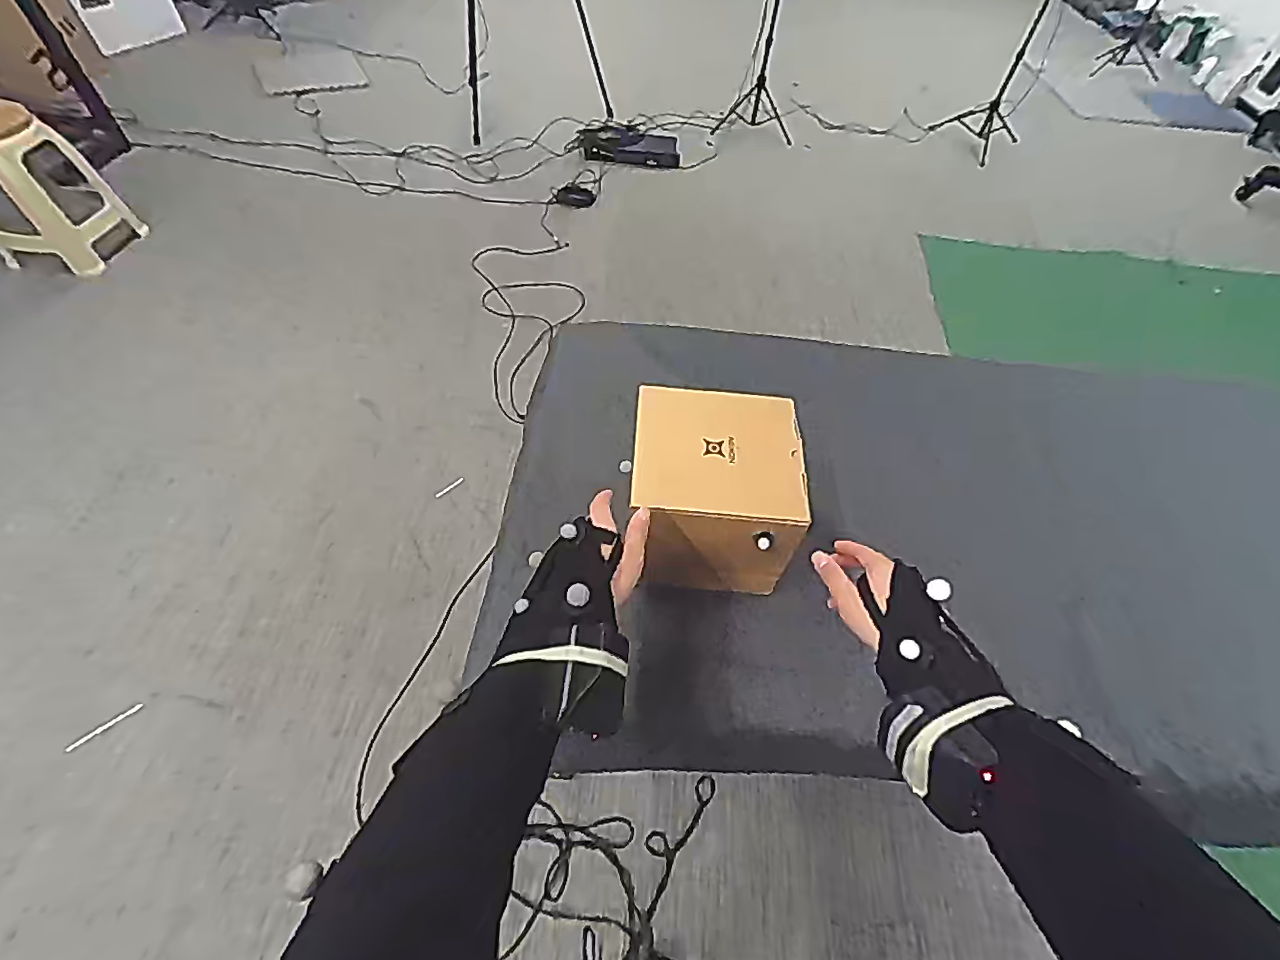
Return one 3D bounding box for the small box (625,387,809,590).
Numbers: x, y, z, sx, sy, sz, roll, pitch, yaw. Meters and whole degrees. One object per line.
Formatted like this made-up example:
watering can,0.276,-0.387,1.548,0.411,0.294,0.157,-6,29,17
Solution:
small box,0.075,0.015,0.621,0.179,0.176,0.168,5,54,-1
